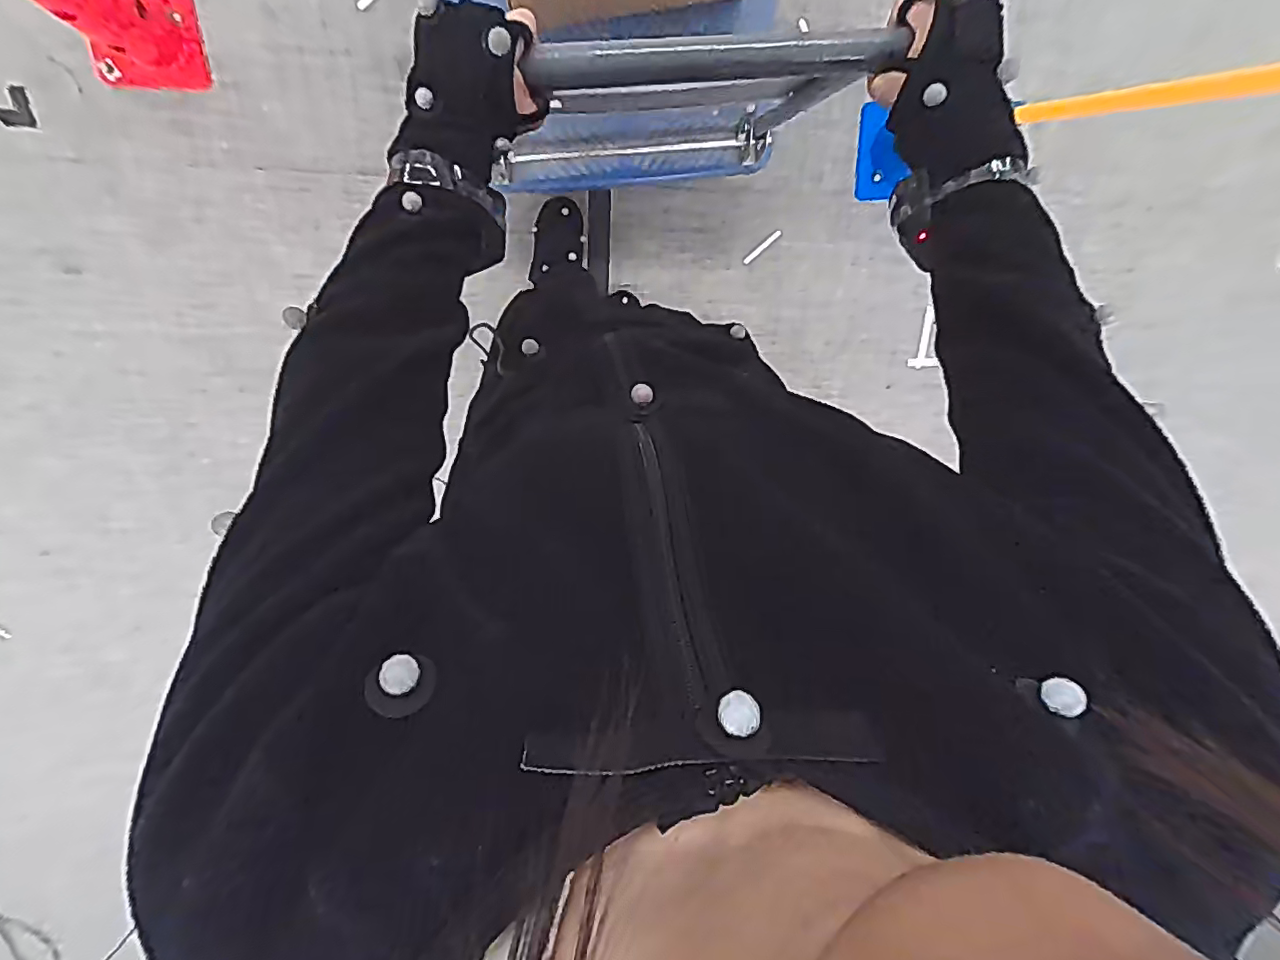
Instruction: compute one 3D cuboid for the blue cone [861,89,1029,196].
[{"bbox_3d":[0.618,-0.696,1.083,0.193,0.380,0.192,-4,112,-6],"label":"blue cone"}]
